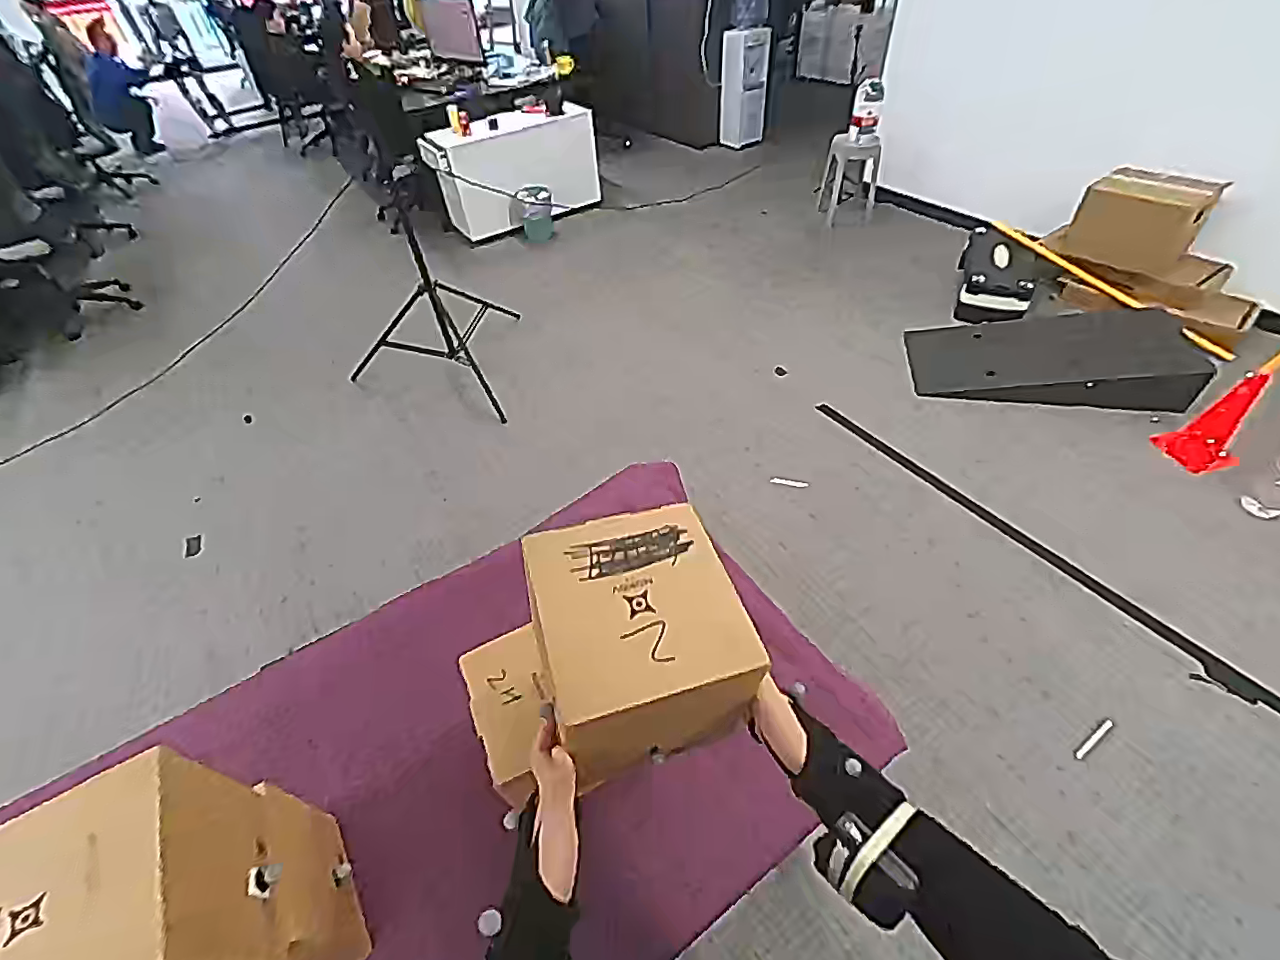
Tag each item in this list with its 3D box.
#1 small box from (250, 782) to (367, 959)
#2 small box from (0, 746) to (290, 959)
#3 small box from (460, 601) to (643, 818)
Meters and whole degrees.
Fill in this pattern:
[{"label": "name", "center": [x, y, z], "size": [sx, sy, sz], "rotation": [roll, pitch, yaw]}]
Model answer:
[{"label": "small box", "center": [-0.422, 0.464, 0.562], "size": [0.179, 0.176, 0.168], "rotation": [-29, 51, -22]}, {"label": "small box", "center": [-0.426, 0.361, 0.436], "size": [0.179, 0.176, 0.168], "rotation": [-27, 51, -21]}, {"label": "small box", "center": [-0.106, 0.293, 0.693], "size": [0.179, 0.176, 0.168], "rotation": [-23, 48, -15]}]
